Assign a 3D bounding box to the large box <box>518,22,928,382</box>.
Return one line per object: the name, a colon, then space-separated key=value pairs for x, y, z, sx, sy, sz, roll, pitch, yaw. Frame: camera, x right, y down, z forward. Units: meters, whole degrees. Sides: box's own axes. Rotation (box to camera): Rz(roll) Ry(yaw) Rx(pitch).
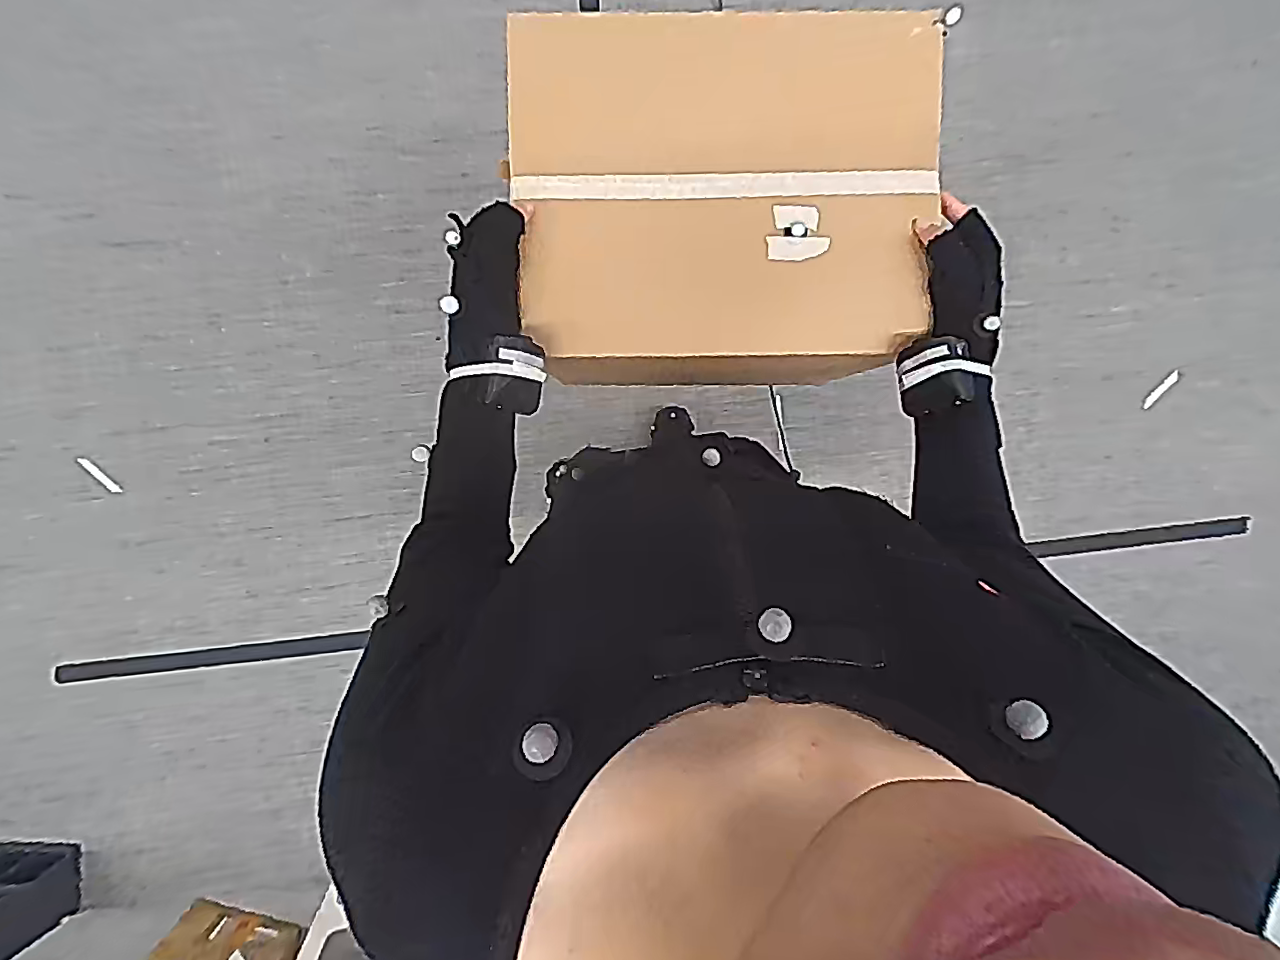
large box: x=0.080 y=-0.298 z=0.681 sx=0.408 sy=0.320 sz=0.320 roll=-1 pitch=96 yaw=-1
